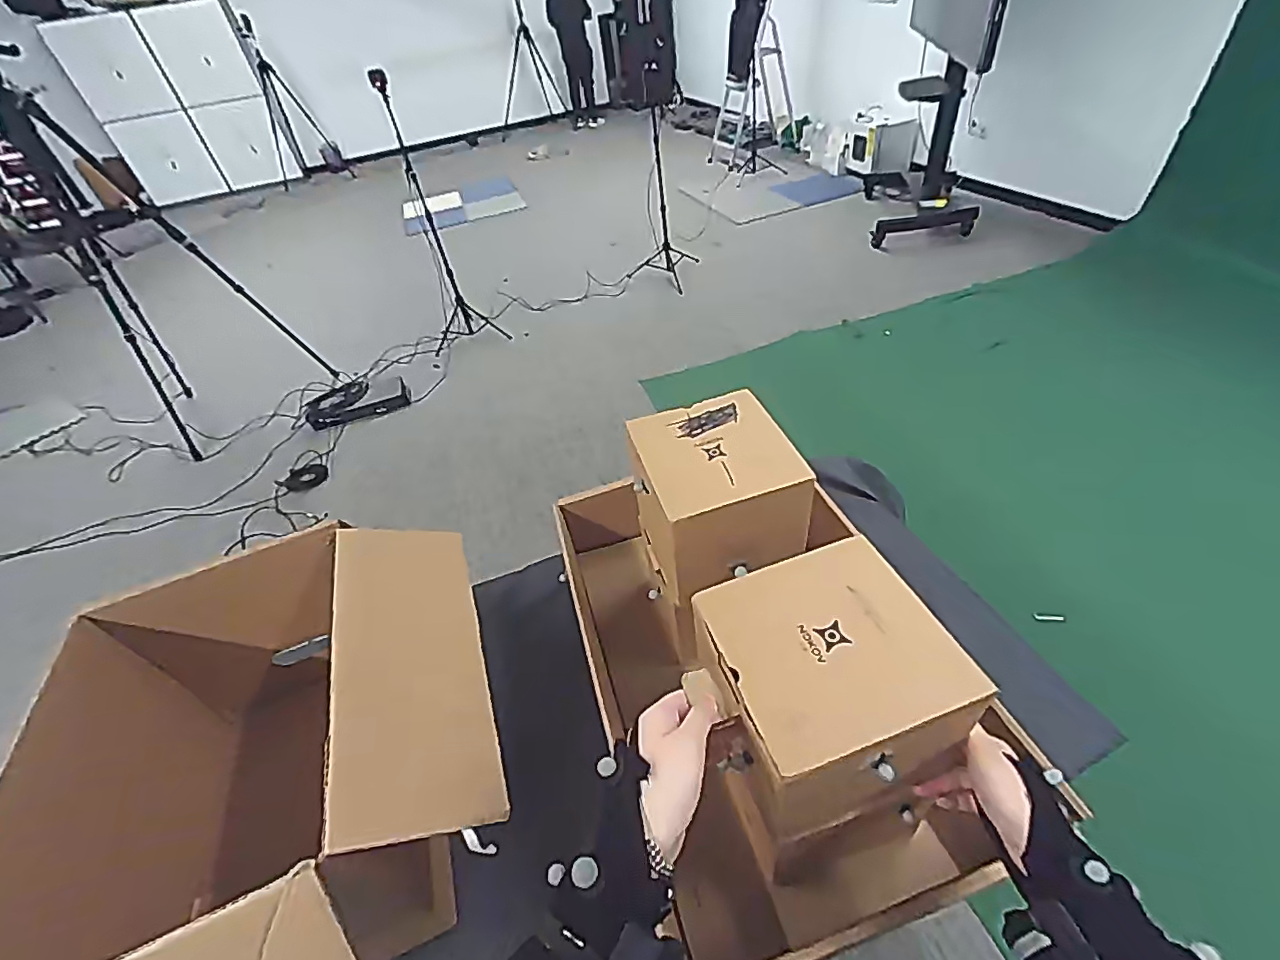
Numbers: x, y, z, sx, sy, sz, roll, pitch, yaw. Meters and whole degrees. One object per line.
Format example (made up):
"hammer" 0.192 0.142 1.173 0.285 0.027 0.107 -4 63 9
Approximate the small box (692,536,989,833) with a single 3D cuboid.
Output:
"small box" 0.162 0.186 0.491 0.179 0.176 0.168 -18 44 -8

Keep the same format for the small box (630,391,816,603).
"small box" 0.094 0.021 0.672 0.168 0.176 0.179 -16 46 -6
